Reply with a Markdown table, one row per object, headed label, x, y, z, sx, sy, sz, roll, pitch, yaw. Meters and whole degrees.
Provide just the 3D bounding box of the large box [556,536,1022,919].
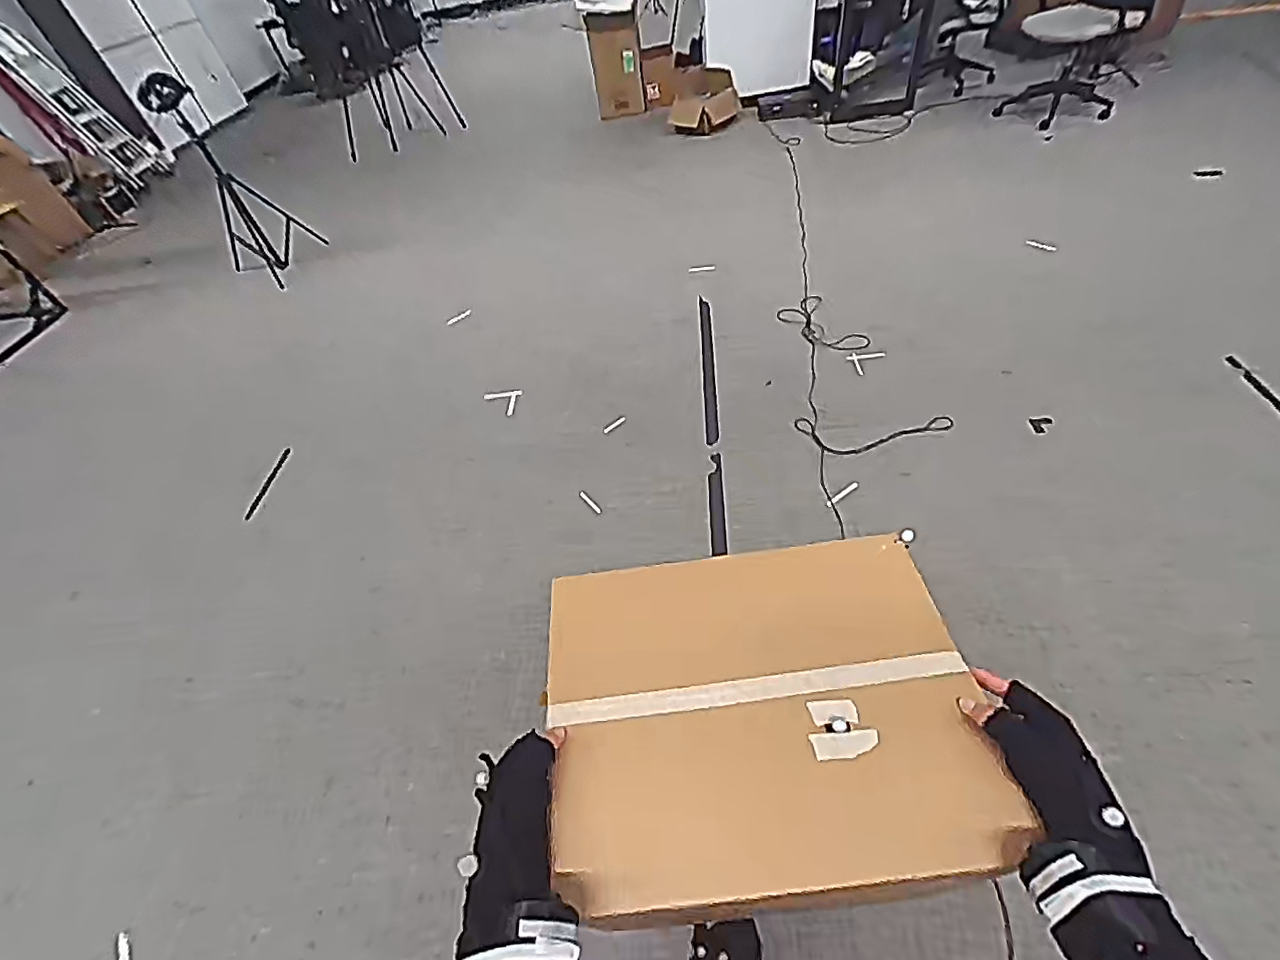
| label | x | y | z | sx | sy | sz | roll | pitch | yaw |
| --- | --- | --- | --- | --- | --- | --- | --- | --- | --- |
| large box | 0.125 | 0.307 | 0.660 | 0.408 | 0.320 | 0.320 | -8 | 49 | 1 |
